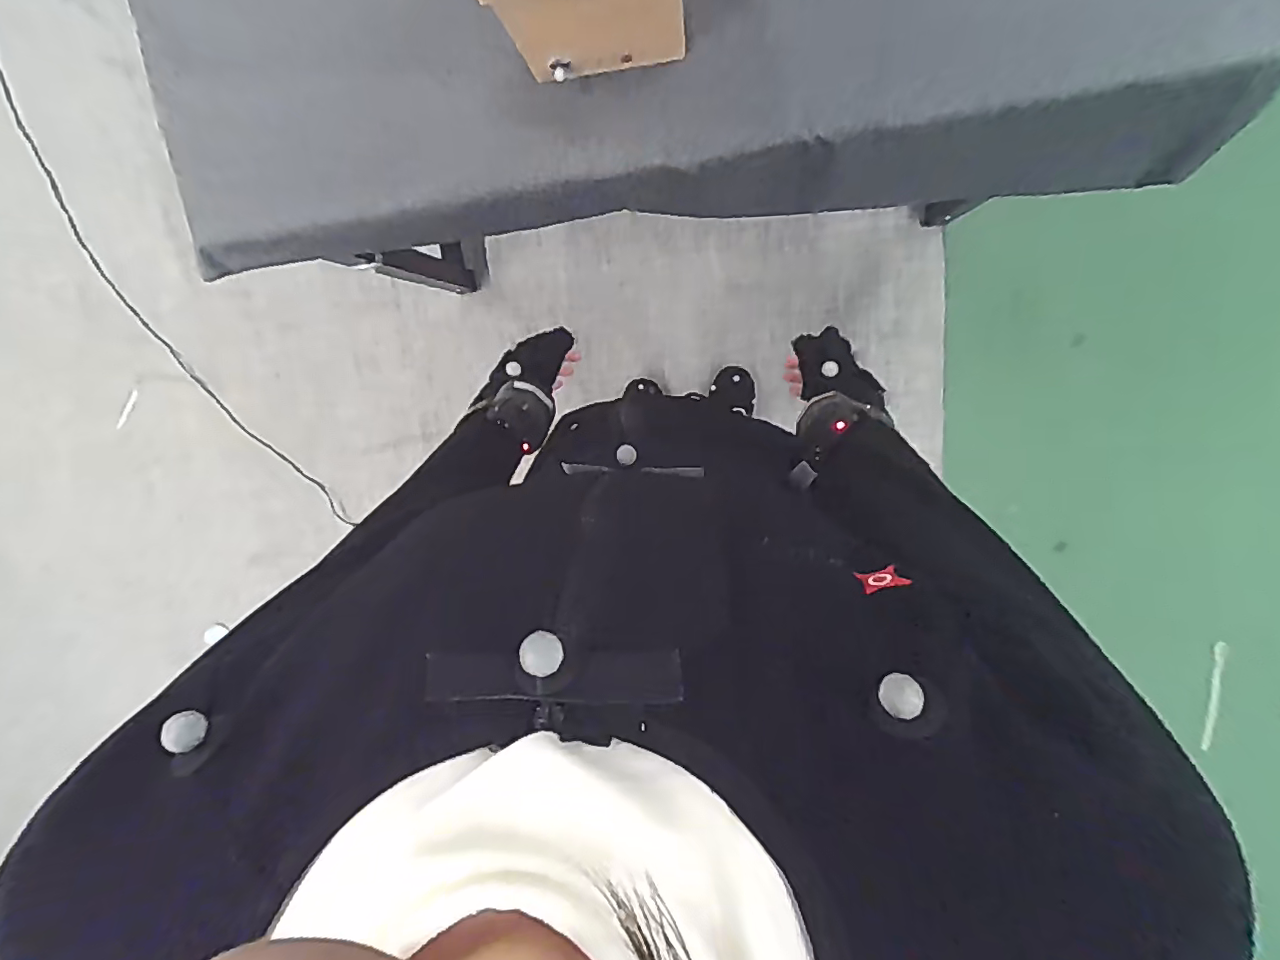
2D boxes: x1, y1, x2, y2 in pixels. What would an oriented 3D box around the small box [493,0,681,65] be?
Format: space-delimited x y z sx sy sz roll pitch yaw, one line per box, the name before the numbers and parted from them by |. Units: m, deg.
small box | -0.051 -0.522 0.498 0.168 0.176 0.179 -4 101 7
